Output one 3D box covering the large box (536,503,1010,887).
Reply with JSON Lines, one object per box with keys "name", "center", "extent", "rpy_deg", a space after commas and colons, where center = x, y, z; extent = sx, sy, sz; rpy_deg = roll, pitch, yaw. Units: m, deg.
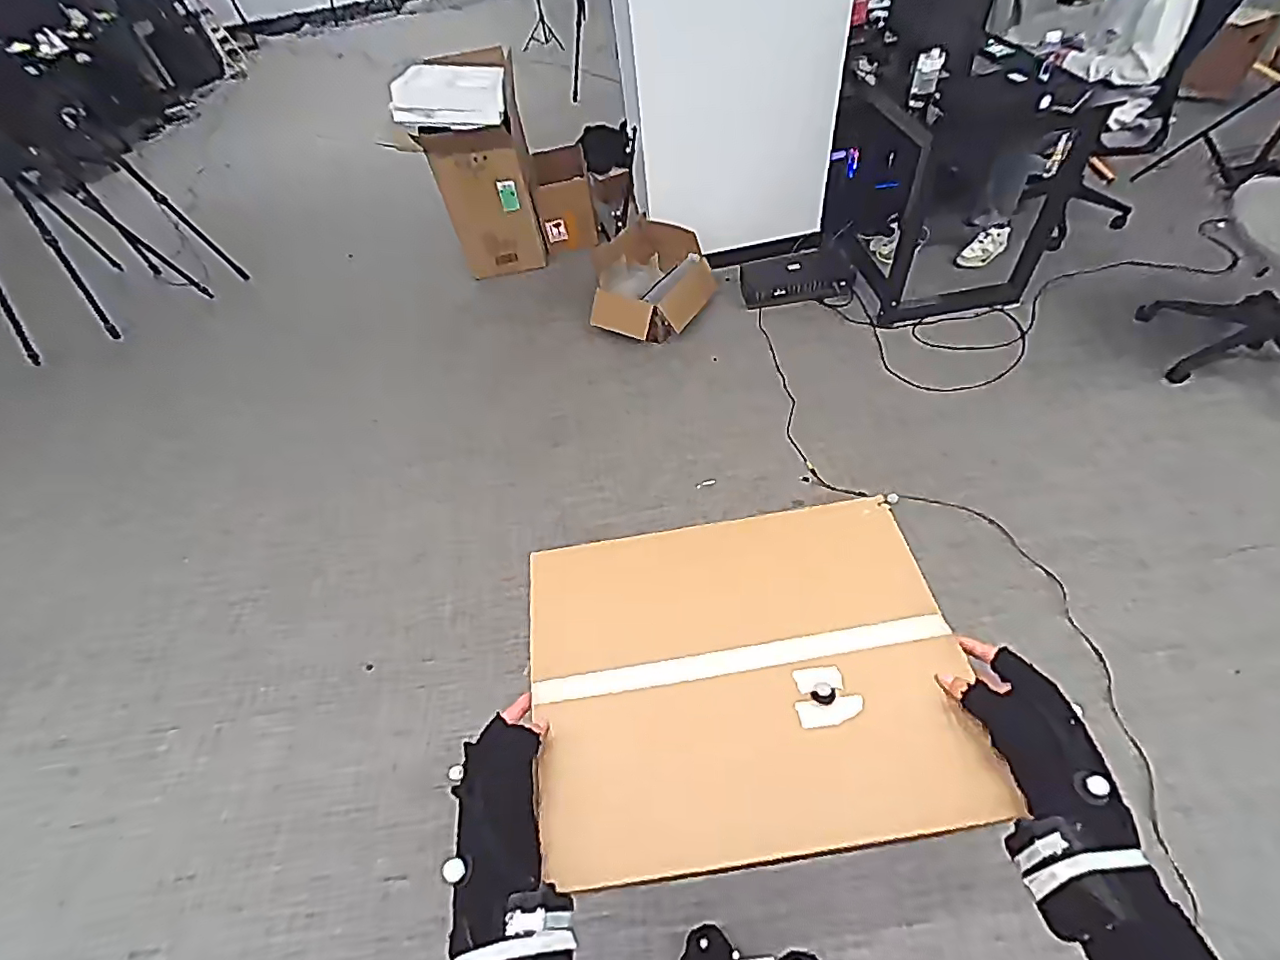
{"name": "large box", "center": [0.108, 0.268, 0.653], "extent": [0.408, 0.320, 0.320], "rpy_deg": [-9, 53, 0]}
